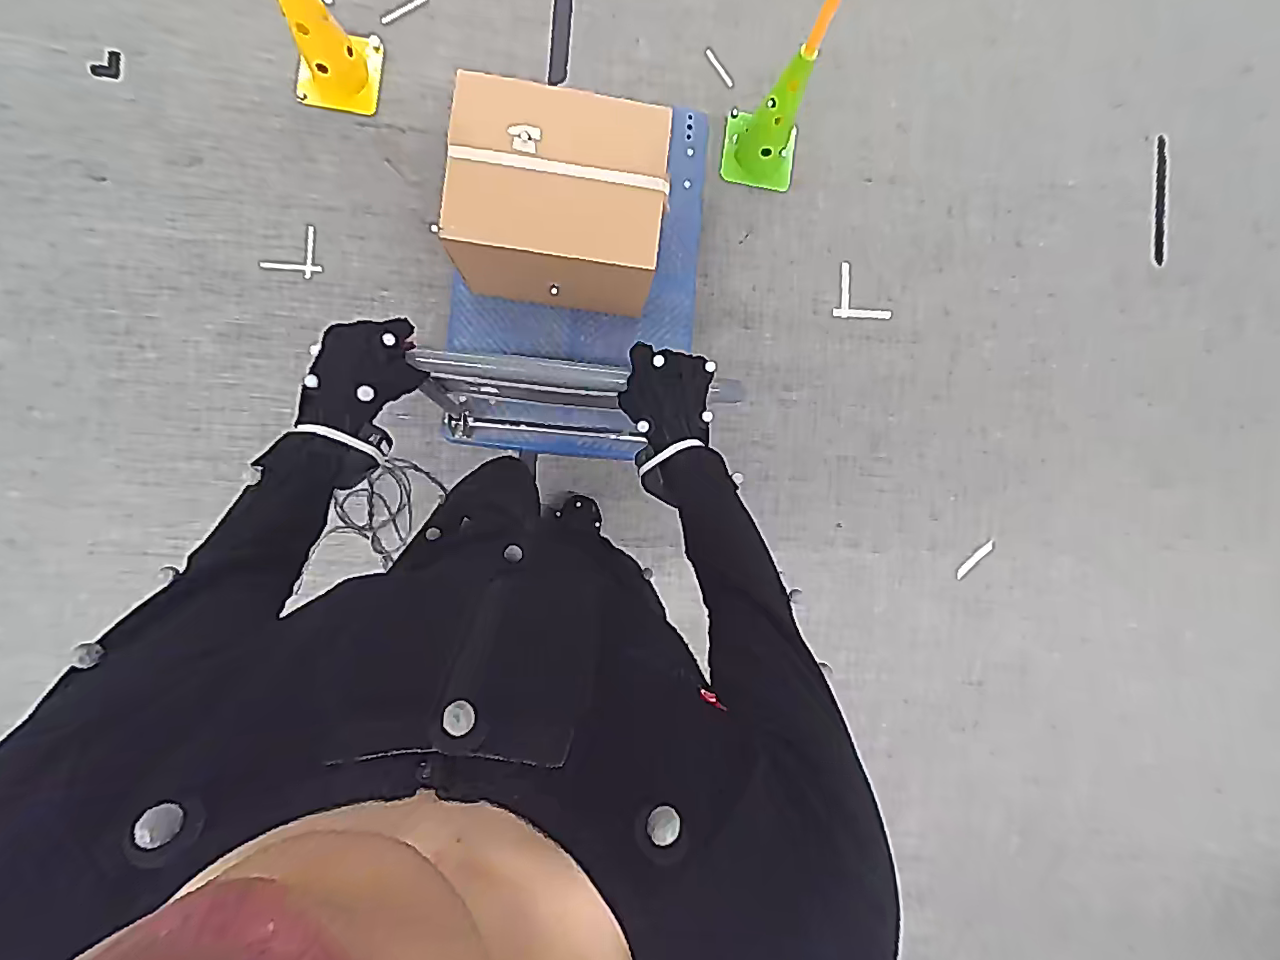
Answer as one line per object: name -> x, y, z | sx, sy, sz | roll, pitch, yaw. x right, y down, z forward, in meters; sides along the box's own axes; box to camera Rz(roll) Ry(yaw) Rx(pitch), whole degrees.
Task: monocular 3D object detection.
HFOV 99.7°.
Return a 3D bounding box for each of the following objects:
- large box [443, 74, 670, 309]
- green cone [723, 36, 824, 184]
large box -> -0.163, -0.582, 1.161 | 0.408, 0.320, 0.320 | 7, 90, -4
green cone -> 0.357, -0.945, 1.353 | 0.202, 0.368, 0.200 | 8, 89, -6
